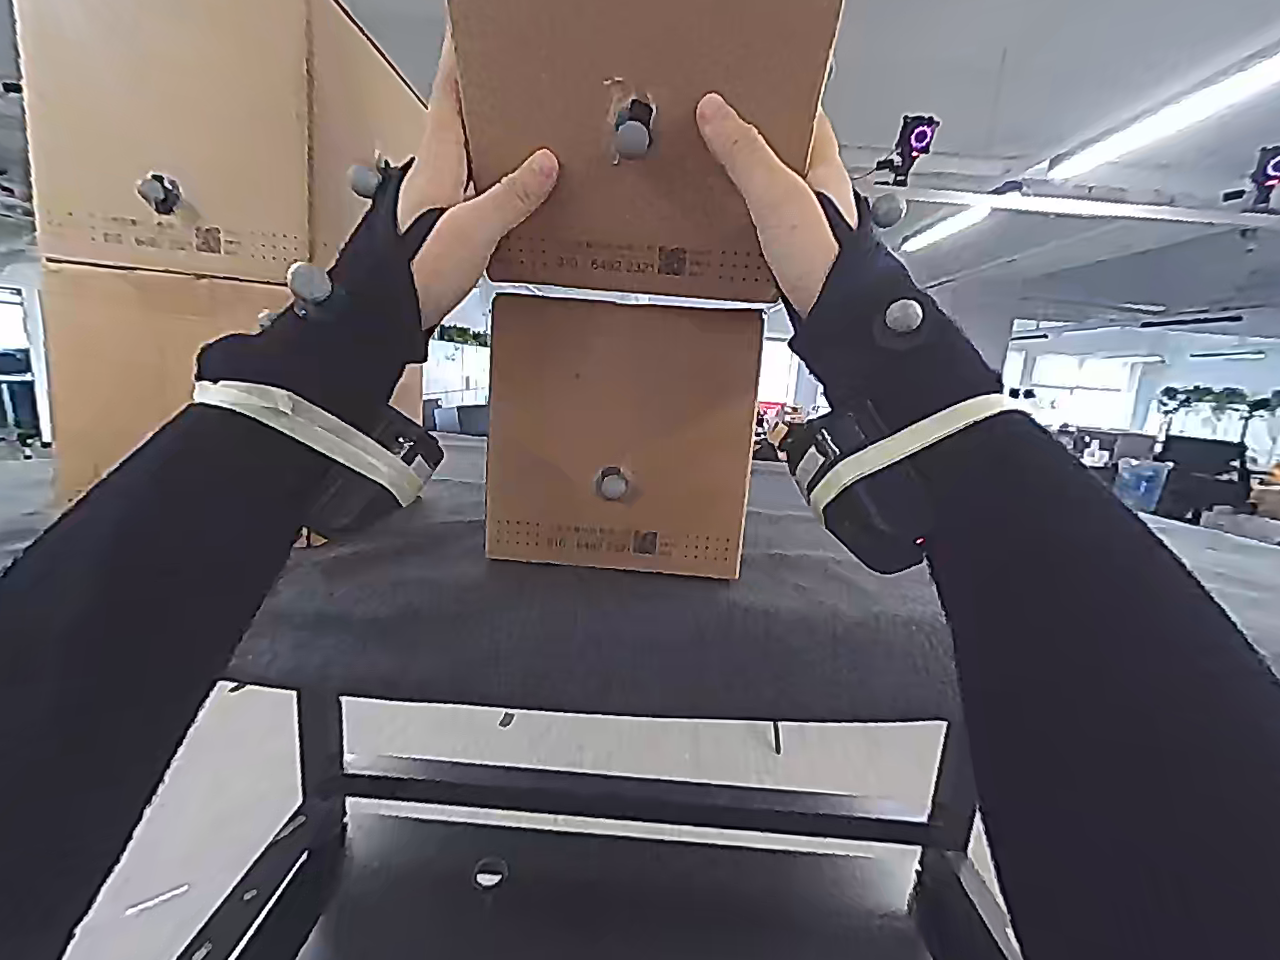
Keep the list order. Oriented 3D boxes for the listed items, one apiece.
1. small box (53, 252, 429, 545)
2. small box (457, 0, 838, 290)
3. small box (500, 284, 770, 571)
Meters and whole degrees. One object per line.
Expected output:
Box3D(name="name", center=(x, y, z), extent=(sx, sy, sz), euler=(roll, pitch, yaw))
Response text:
Box3D(name="small box", center=(-0.280, -0.059, 0.417), extent=(0.168, 0.176, 0.179), euler=(5, 10, -1))
Box3D(name="small box", center=(0.010, -0.223, 0.309), extent=(0.168, 0.176, 0.179), euler=(6, 42, 3))
Box3D(name="small box", center=(-0.006, -0.041, 0.415), extent=(0.168, 0.176, 0.179), euler=(4, 9, 1))
